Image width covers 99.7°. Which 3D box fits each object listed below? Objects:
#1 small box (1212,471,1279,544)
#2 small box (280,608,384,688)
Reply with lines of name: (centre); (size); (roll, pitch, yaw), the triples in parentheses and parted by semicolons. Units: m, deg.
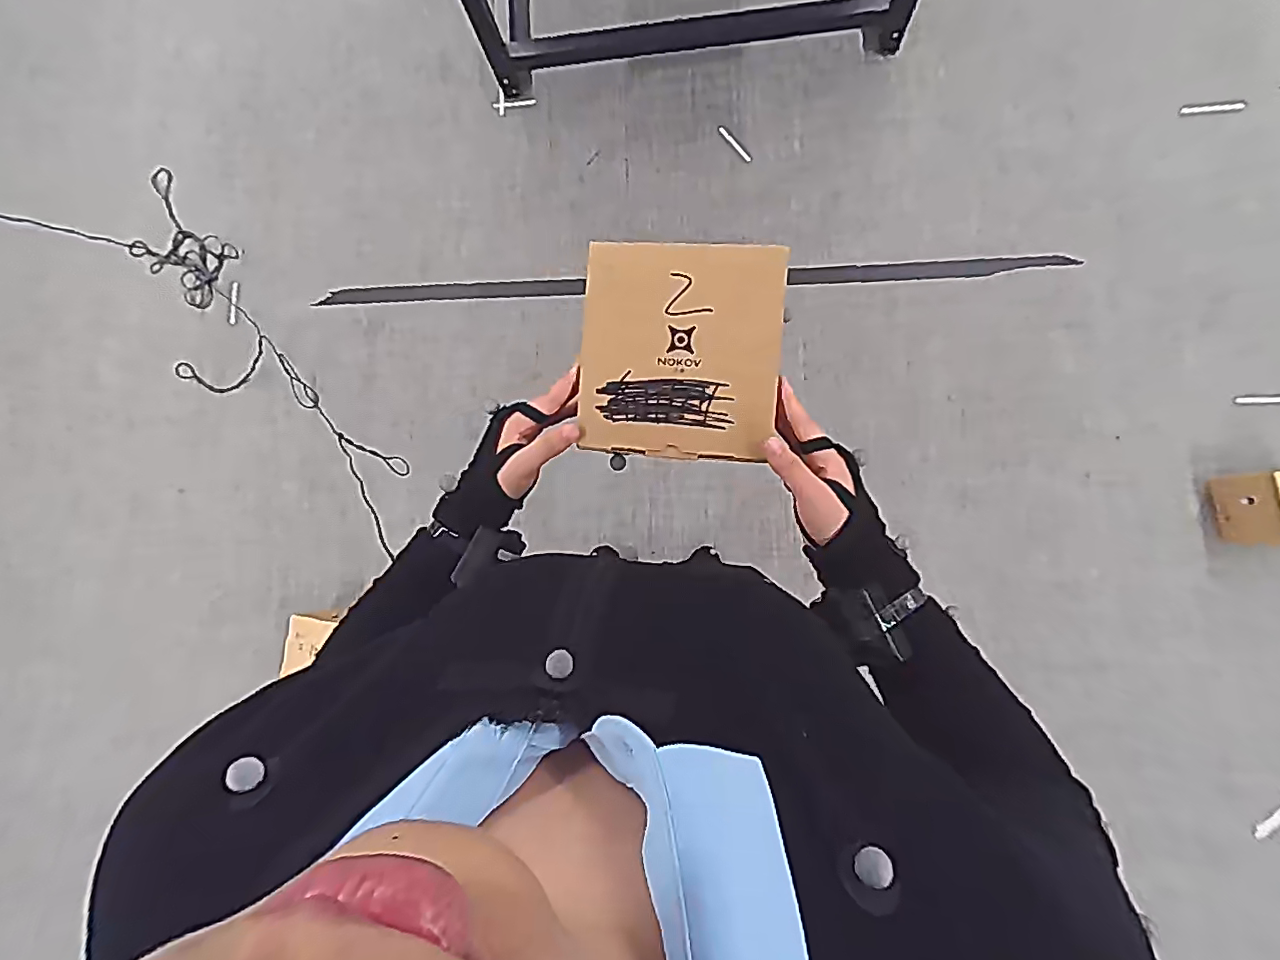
small box: (1.519, 0.062, 1.275); (0.179, 0.176, 0.168); (-8, 83, 5)
small box: (-0.835, 0.453, 1.484); (0.179, 0.176, 0.168); (8, 84, 7)
